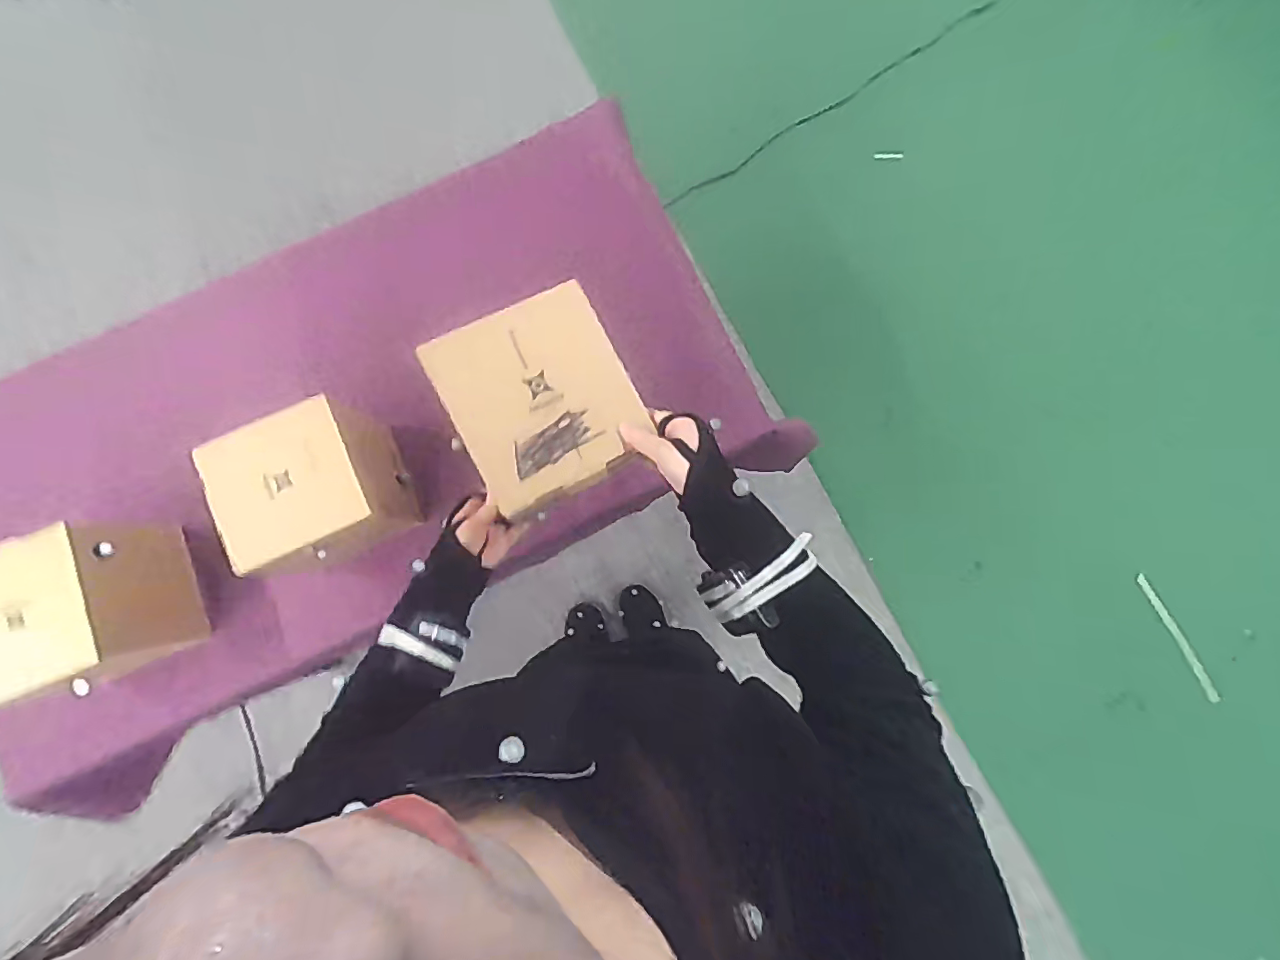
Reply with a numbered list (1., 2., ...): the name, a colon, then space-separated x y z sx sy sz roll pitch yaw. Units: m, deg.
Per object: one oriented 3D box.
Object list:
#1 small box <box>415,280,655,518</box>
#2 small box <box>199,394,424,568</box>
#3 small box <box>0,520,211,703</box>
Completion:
1. small box: -0.106 -0.072 0.575 0.168 0.176 0.179 -28 89 -12
2. small box: -0.427 0.011 0.730 0.179 0.176 0.168 -24 83 -3
3. small box: -0.723 0.165 0.717 0.168 0.176 0.179 -23 81 -2
